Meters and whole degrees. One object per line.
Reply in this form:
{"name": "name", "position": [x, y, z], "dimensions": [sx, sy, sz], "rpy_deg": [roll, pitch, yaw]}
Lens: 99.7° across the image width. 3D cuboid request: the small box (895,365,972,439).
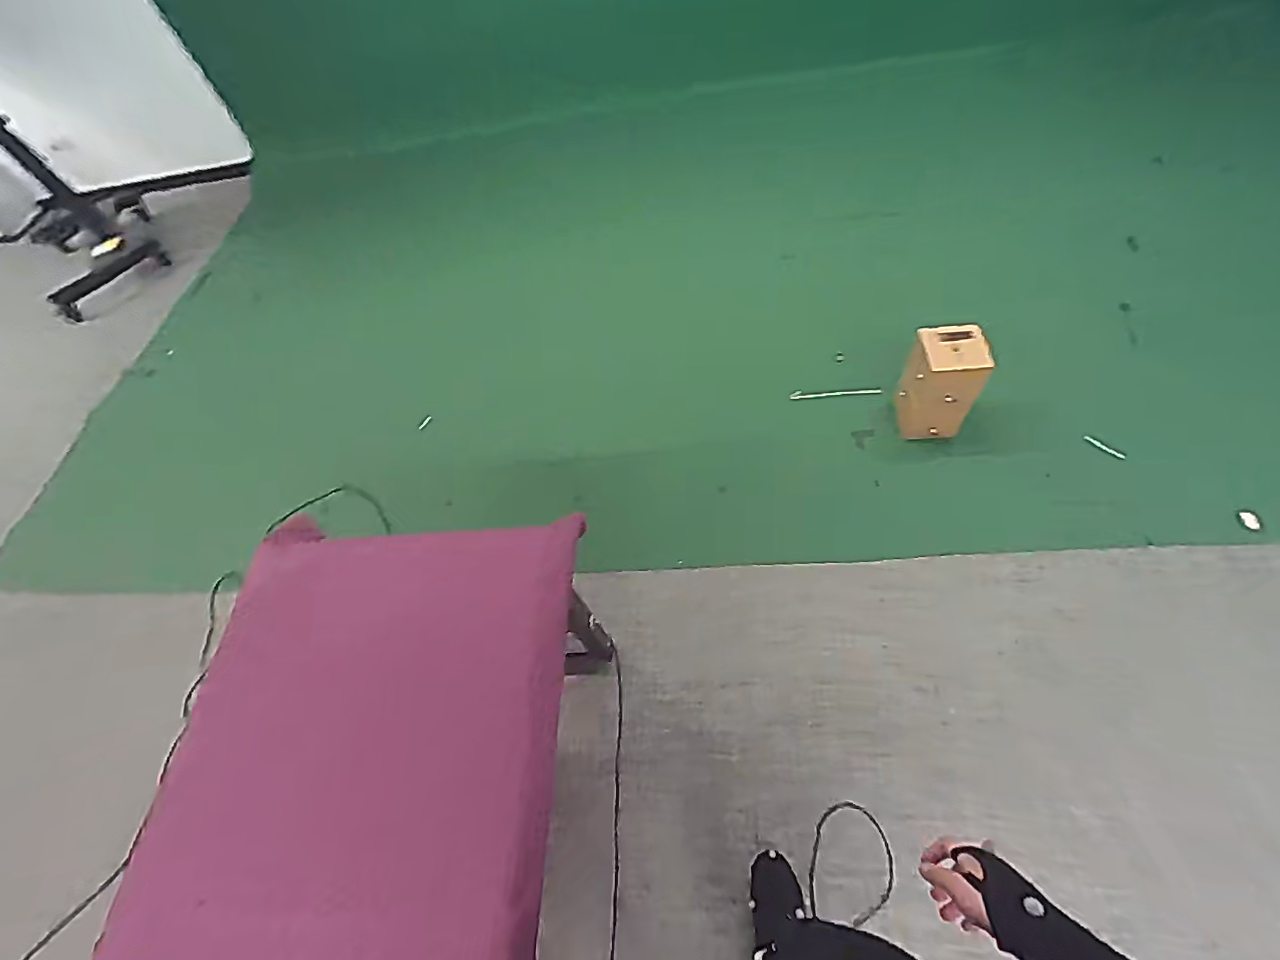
{"name": "small box", "position": [0.956, -0.253, 1.779], "dimensions": [0.168, 0.176, 0.179], "rpy_deg": [-2, 58, 10]}
